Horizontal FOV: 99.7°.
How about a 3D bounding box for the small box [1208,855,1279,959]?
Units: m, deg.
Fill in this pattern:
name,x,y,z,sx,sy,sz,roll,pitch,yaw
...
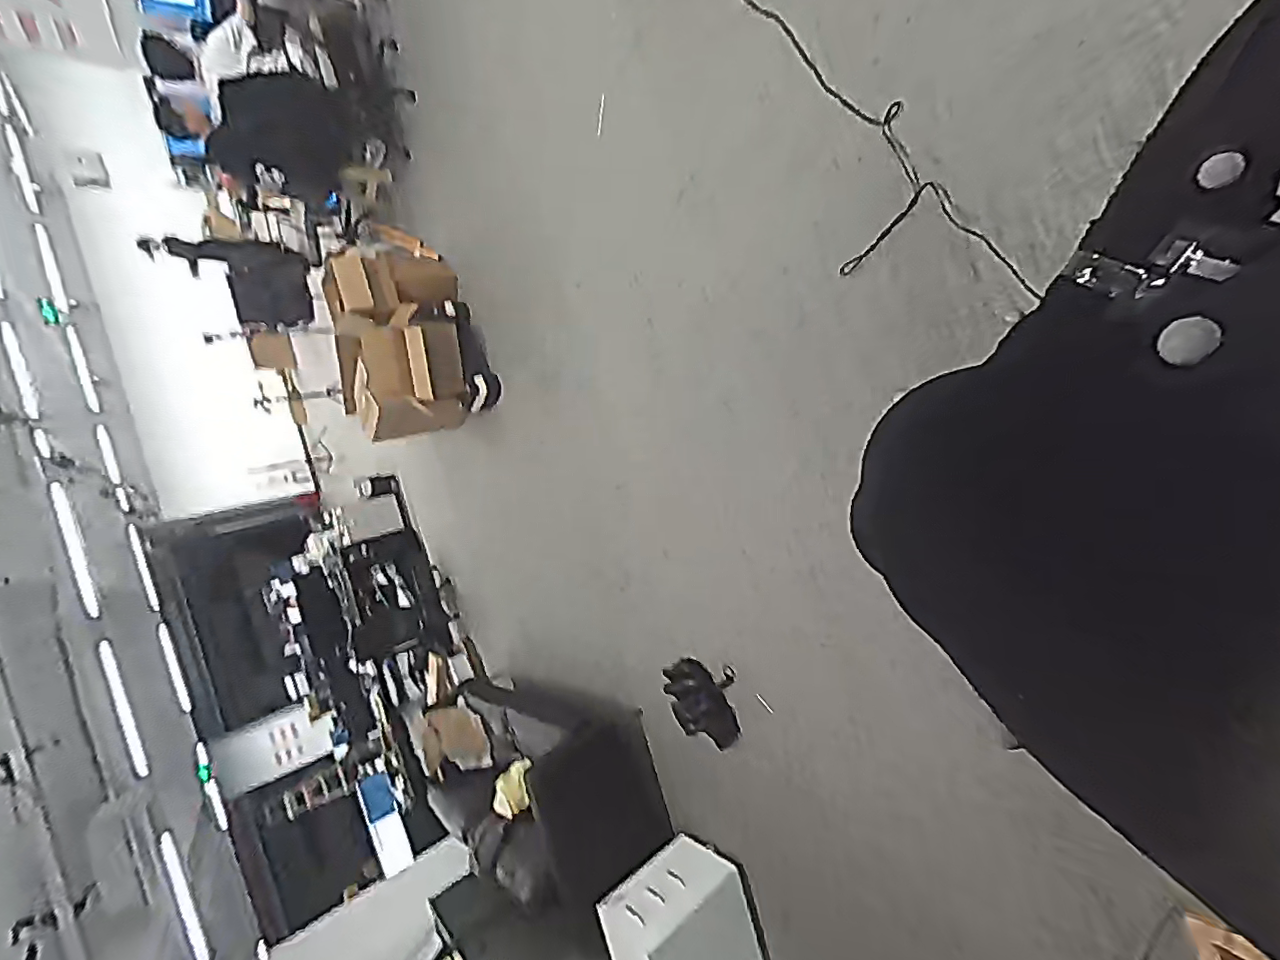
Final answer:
name,x,y,z,sx,sy,sz,roll,pitch,yaw
small box,0.862,0.613,0.670,0.179,0.176,0.168,-16,89,54
